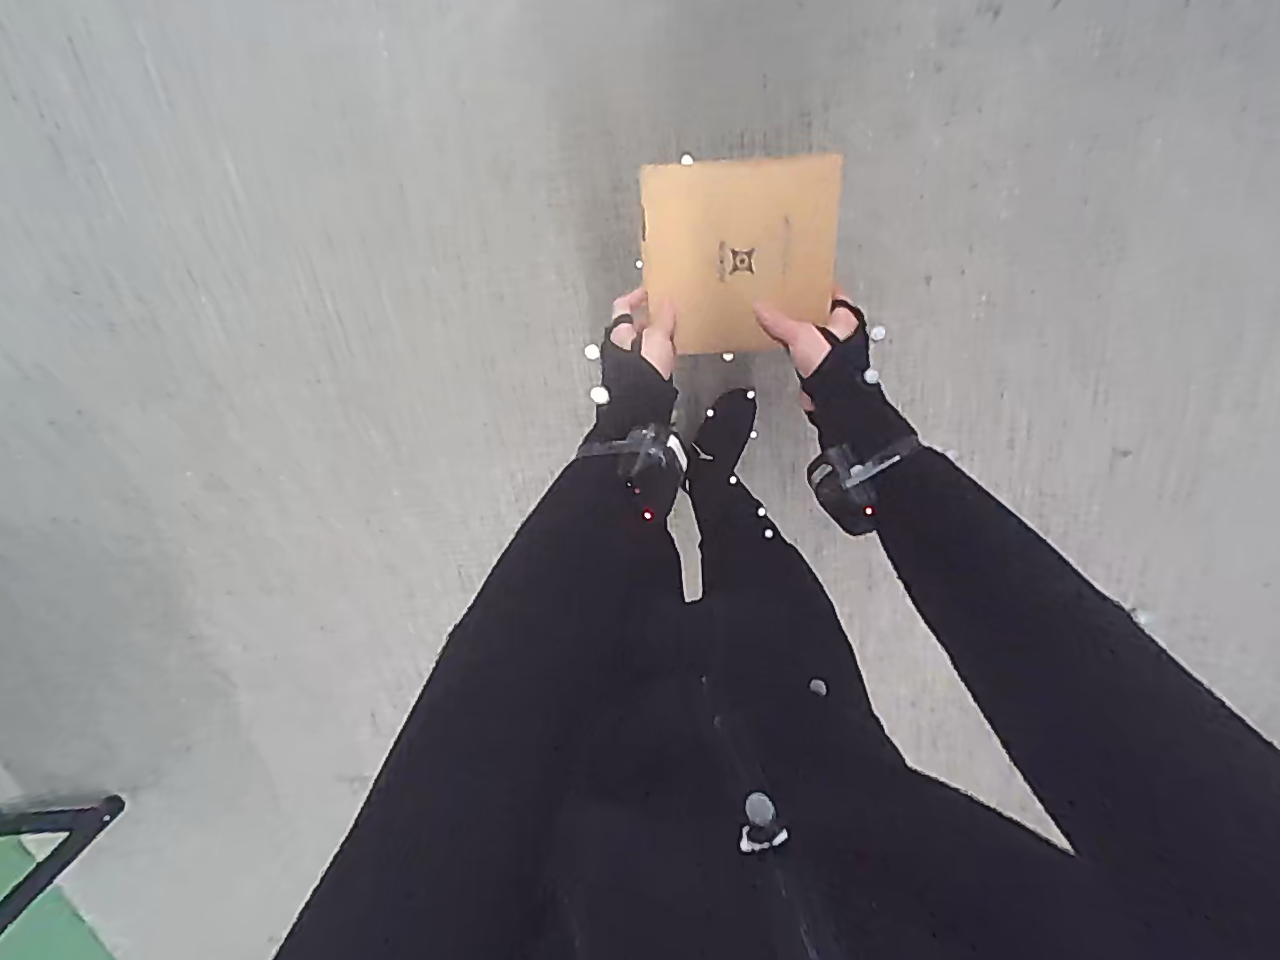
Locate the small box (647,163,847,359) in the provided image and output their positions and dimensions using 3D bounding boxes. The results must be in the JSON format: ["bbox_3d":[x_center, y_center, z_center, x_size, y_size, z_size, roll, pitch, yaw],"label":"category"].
[{"bbox_3d":[0.101,-0.227,0.576,0.179,0.176,0.168,-3,113,2],"label":"small box"}]
